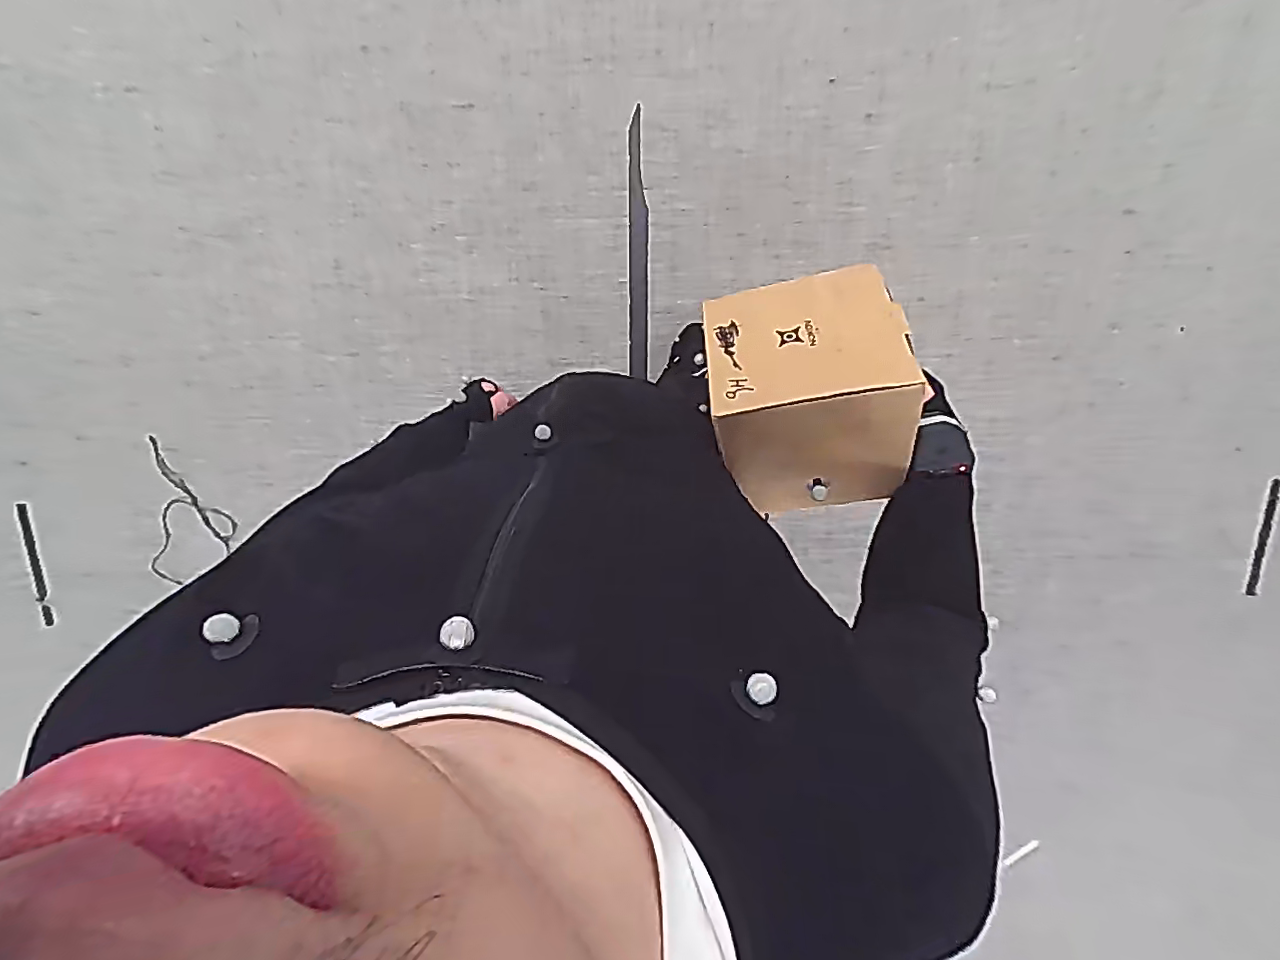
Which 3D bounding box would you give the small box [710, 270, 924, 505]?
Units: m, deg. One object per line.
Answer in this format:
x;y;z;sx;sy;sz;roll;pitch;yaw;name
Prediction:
0.175;-0.090;0.579;0.179;0.168;0.176;-8;142;12;small box
